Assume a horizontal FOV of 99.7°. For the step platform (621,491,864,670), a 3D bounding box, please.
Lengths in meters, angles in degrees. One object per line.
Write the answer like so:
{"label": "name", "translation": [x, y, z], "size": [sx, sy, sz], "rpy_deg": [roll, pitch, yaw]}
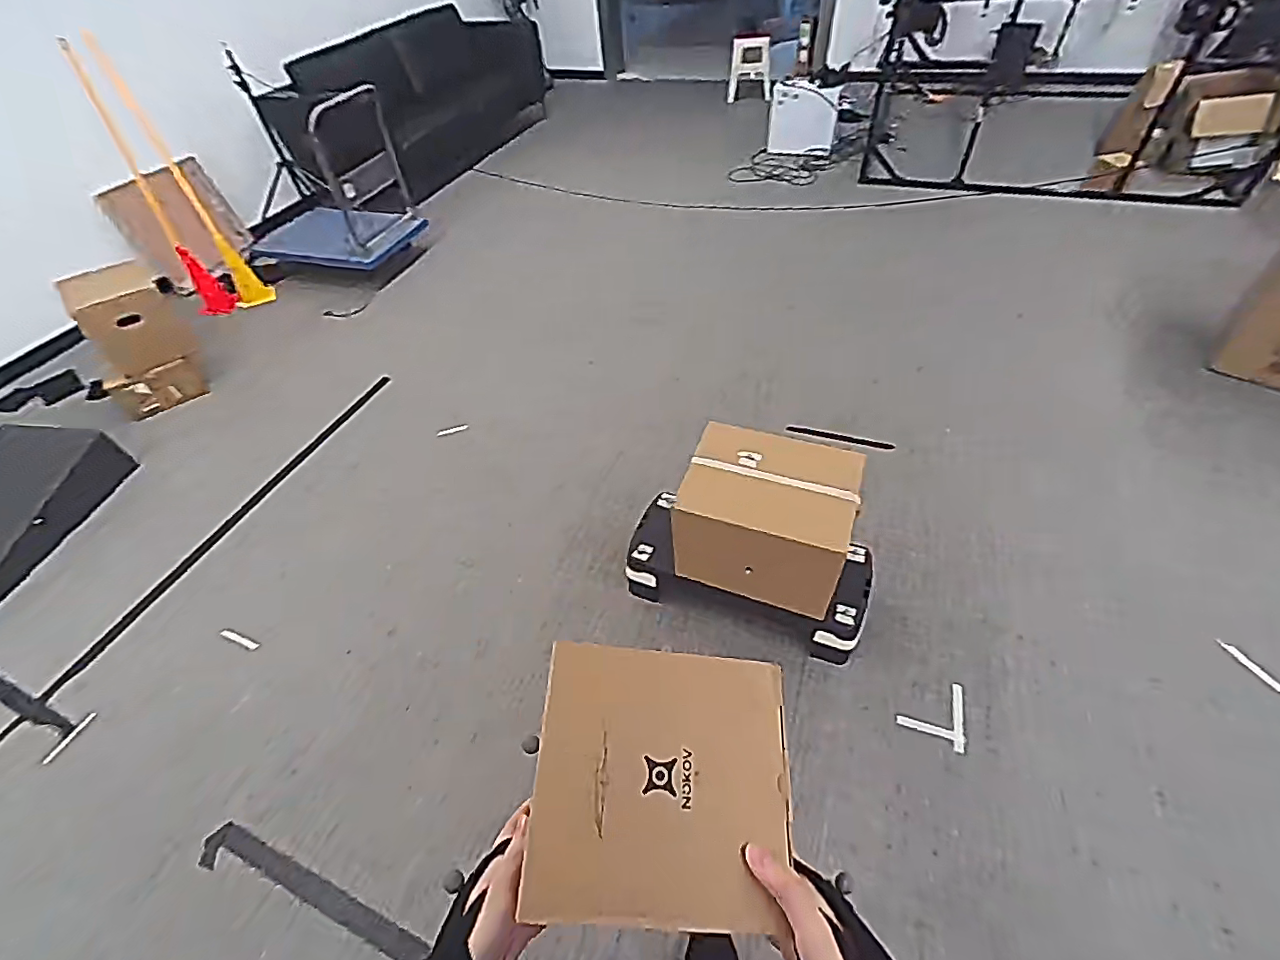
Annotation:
{"label": "step platform", "translation": [0.286, 0.268, 1.585], "size": [0.684, 0.204, 0.286], "rpy_deg": [18, 53, 22]}

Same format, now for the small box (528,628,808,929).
{"label": "small box", "translation": [0.014, 0.230, 0.432], "size": [0.179, 0.176, 0.168], "rpy_deg": [8, 59, -5]}

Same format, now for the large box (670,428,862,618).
{"label": "large box", "translation": [0.324, 0.110, 1.402], "size": [0.408, 0.320, 0.320], "rpy_deg": [13, 51, 18]}
